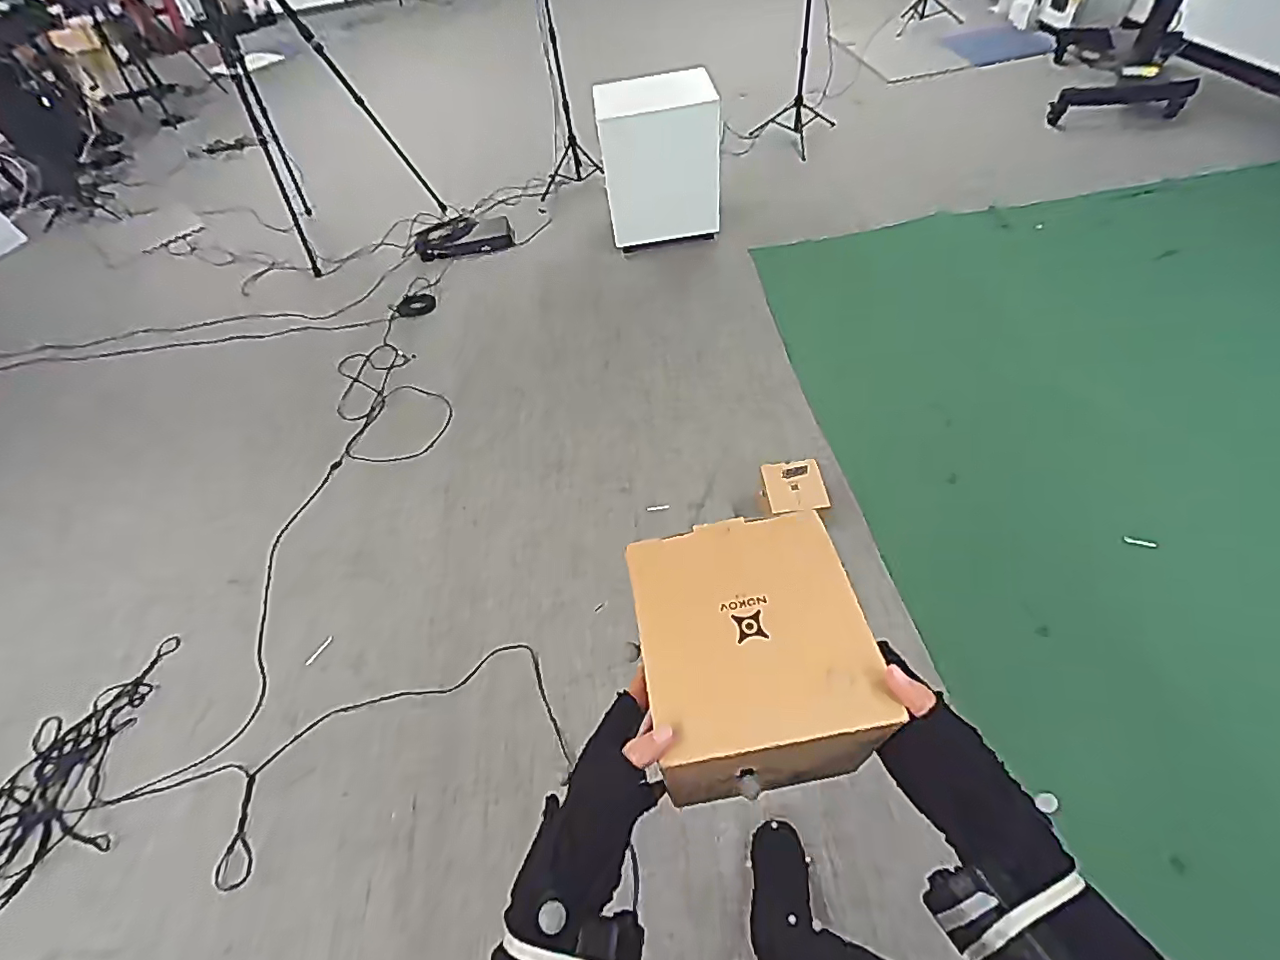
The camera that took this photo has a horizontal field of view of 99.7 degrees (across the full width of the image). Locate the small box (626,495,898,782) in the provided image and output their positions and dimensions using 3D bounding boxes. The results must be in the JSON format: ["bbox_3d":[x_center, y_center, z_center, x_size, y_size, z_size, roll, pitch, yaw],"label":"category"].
[{"bbox_3d":[0.089,0.143,0.465,0.168,0.176,0.179,-11,49,-1],"label":"small box"}]

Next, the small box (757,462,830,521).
[{"bbox_3d":[0.452,0.069,1.626,0.168,0.176,0.179,-7,53,3],"label":"small box"}]
